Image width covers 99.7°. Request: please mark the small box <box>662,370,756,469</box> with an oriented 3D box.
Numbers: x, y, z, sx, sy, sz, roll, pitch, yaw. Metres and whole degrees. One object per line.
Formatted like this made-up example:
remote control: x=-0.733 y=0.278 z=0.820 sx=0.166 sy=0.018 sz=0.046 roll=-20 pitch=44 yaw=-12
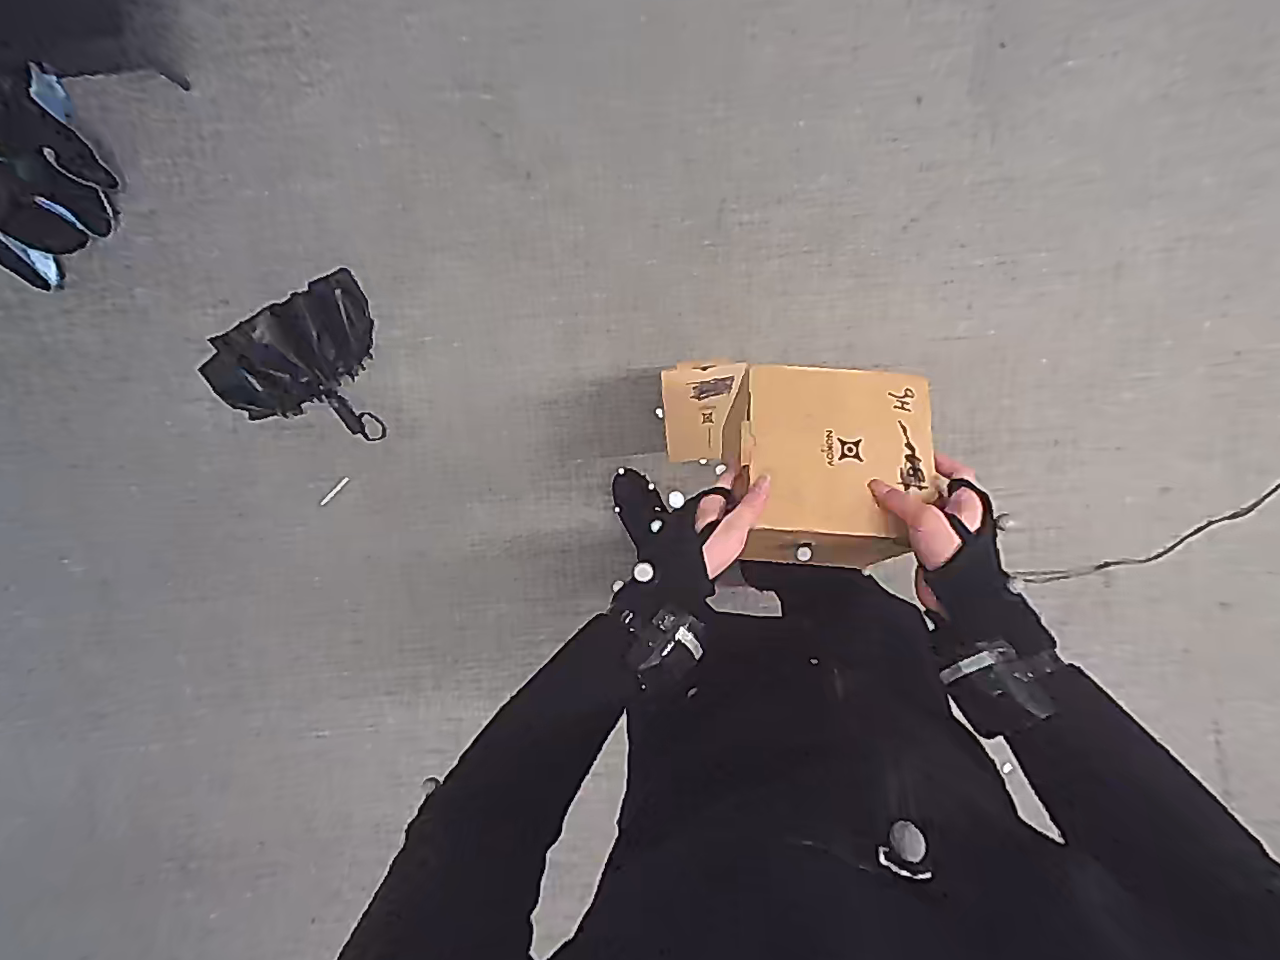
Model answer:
small box: x=0.133 y=-0.119 z=1.096 sx=0.168 sy=0.176 sz=0.179 roll=-6 pitch=96 yaw=3
